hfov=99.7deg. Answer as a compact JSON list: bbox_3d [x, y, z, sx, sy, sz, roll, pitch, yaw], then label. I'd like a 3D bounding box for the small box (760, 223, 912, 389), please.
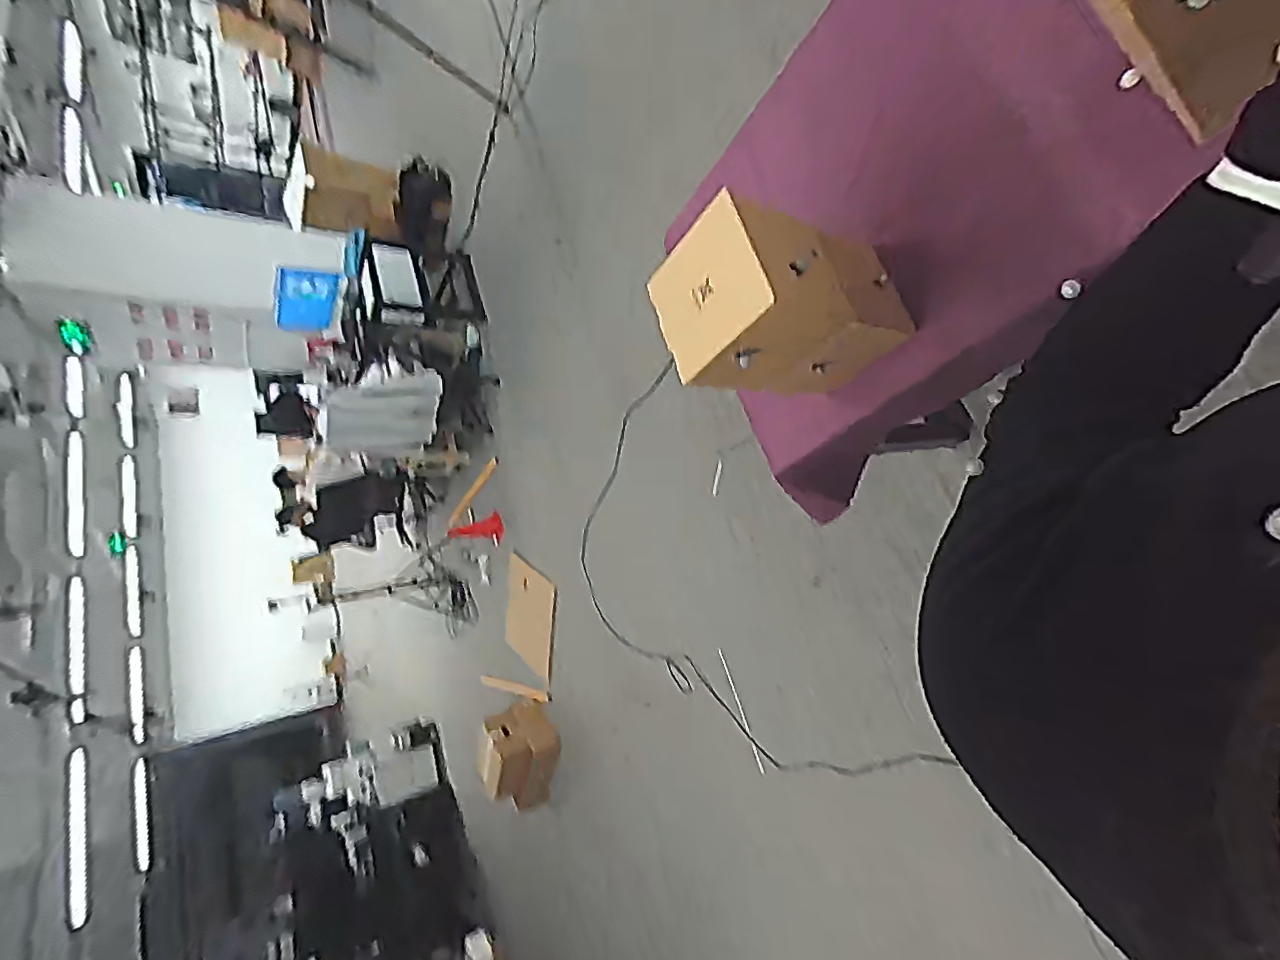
[{"bbox_3d":[0.272,-0.250,0.827,0.179,0.176,0.168,-37,66,48],"label":"small box"}]

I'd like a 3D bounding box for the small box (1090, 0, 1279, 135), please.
[{"bbox_3d":[0.531,-0.449,0.467,0.179,0.176,0.168,-39,64,49],"label":"small box"}]

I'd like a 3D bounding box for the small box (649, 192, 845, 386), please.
[{"bbox_3d":[0.145,-0.241,0.725,0.179,0.176,0.168,-39,64,49],"label":"small box"}]
